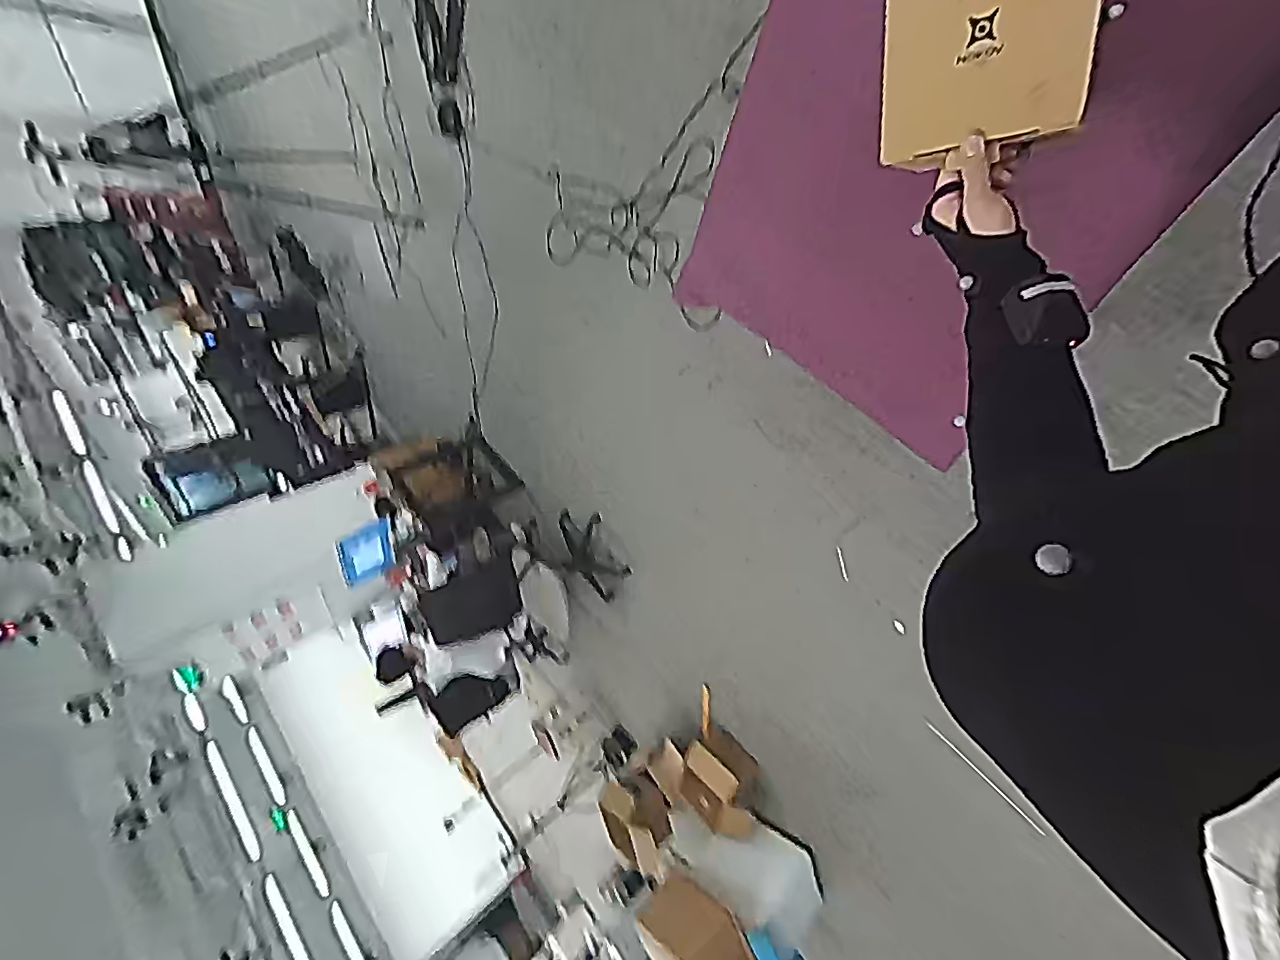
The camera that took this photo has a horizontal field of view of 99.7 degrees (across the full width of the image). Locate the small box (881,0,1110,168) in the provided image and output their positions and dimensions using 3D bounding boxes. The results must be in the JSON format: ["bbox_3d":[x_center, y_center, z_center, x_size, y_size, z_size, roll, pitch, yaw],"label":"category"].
[{"bbox_3d":[0.353,-0.422,0.537,0.168,0.176,0.179,10,117,36],"label":"small box"}]
